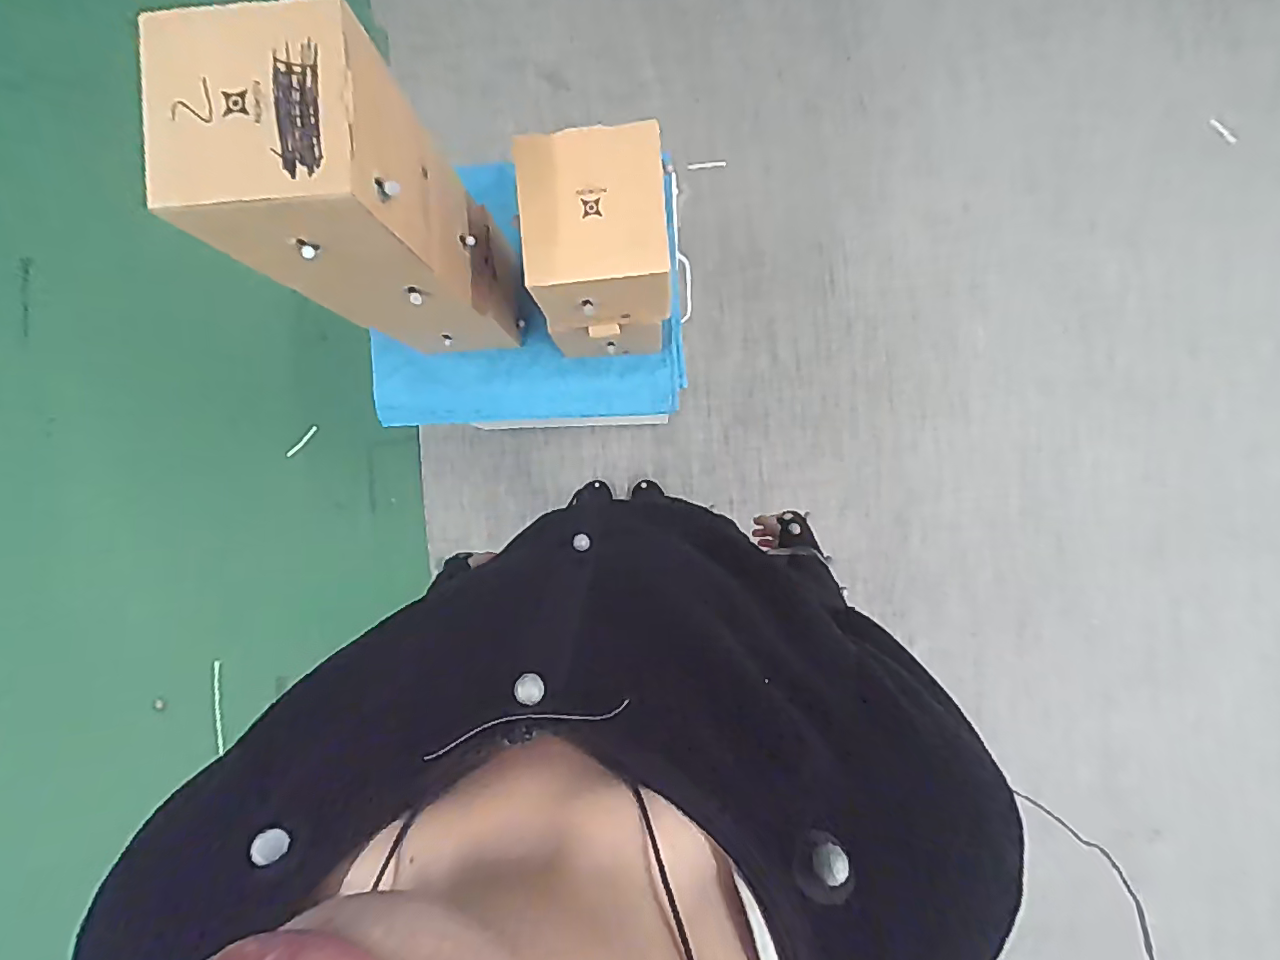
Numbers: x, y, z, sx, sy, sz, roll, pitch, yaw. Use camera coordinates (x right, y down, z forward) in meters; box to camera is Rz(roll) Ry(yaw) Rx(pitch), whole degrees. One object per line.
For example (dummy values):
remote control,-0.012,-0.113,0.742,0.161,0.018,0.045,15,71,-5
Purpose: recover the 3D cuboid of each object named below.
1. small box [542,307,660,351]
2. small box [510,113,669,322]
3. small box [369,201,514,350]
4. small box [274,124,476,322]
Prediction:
small box,-0.055,-0.301,0.833,0.168,0.176,0.179,-3,90,1
small box,-0.052,-0.305,0.670,0.168,0.176,0.179,-5,88,2
small box,-0.299,-0.306,0.838,0.179,0.176,0.168,-4,89,2
small box,-0.312,-0.305,0.674,0.179,0.176,0.168,-4,89,1
